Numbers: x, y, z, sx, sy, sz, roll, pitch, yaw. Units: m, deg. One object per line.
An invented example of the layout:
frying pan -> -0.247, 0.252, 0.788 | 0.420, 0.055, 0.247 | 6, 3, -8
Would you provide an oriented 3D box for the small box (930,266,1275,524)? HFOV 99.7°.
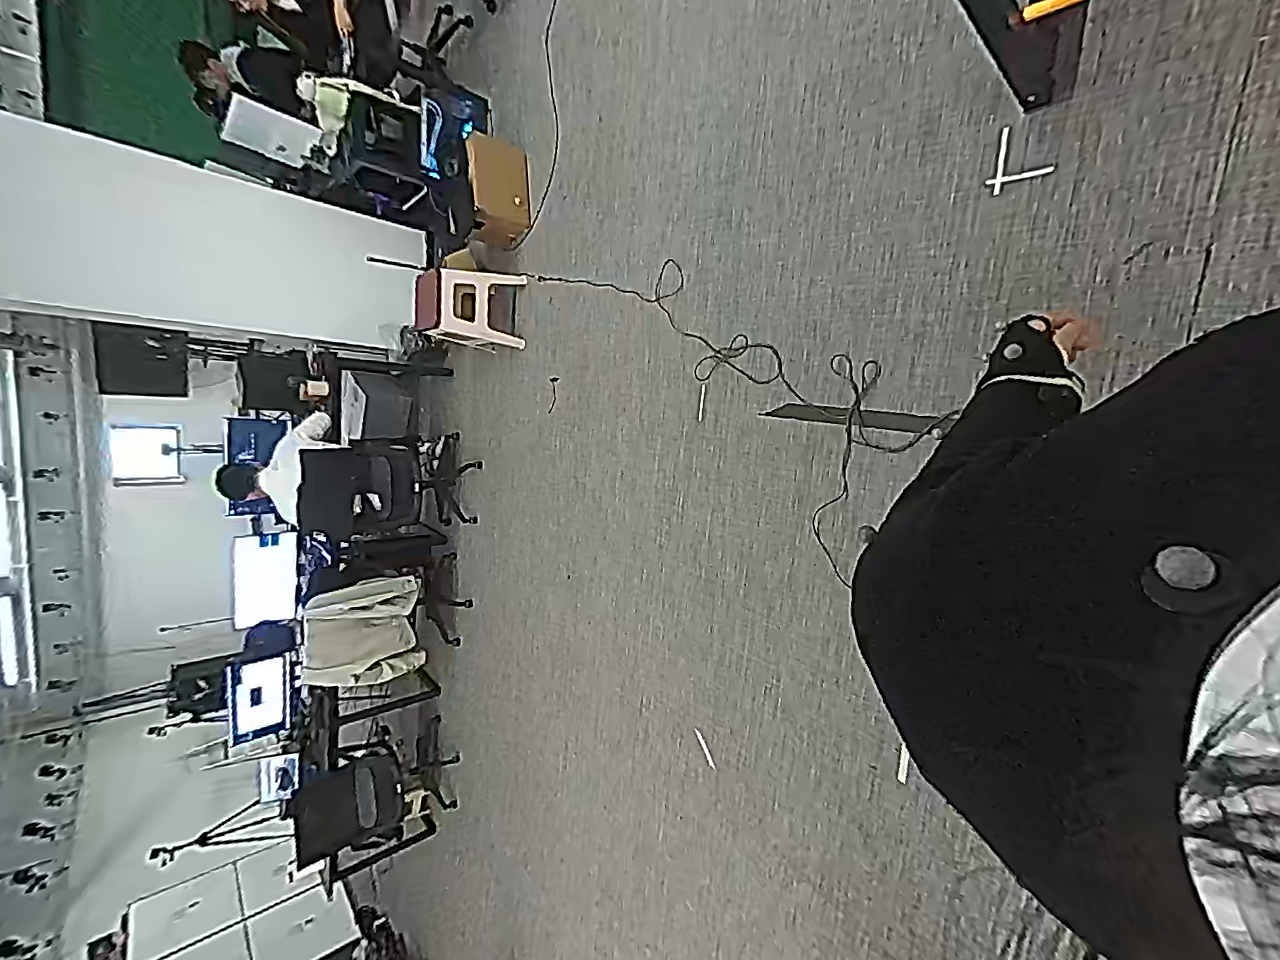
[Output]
small box -> 0.386, -0.059, 0.500 | 0.179, 0.176, 0.168 | -10, 74, 15
